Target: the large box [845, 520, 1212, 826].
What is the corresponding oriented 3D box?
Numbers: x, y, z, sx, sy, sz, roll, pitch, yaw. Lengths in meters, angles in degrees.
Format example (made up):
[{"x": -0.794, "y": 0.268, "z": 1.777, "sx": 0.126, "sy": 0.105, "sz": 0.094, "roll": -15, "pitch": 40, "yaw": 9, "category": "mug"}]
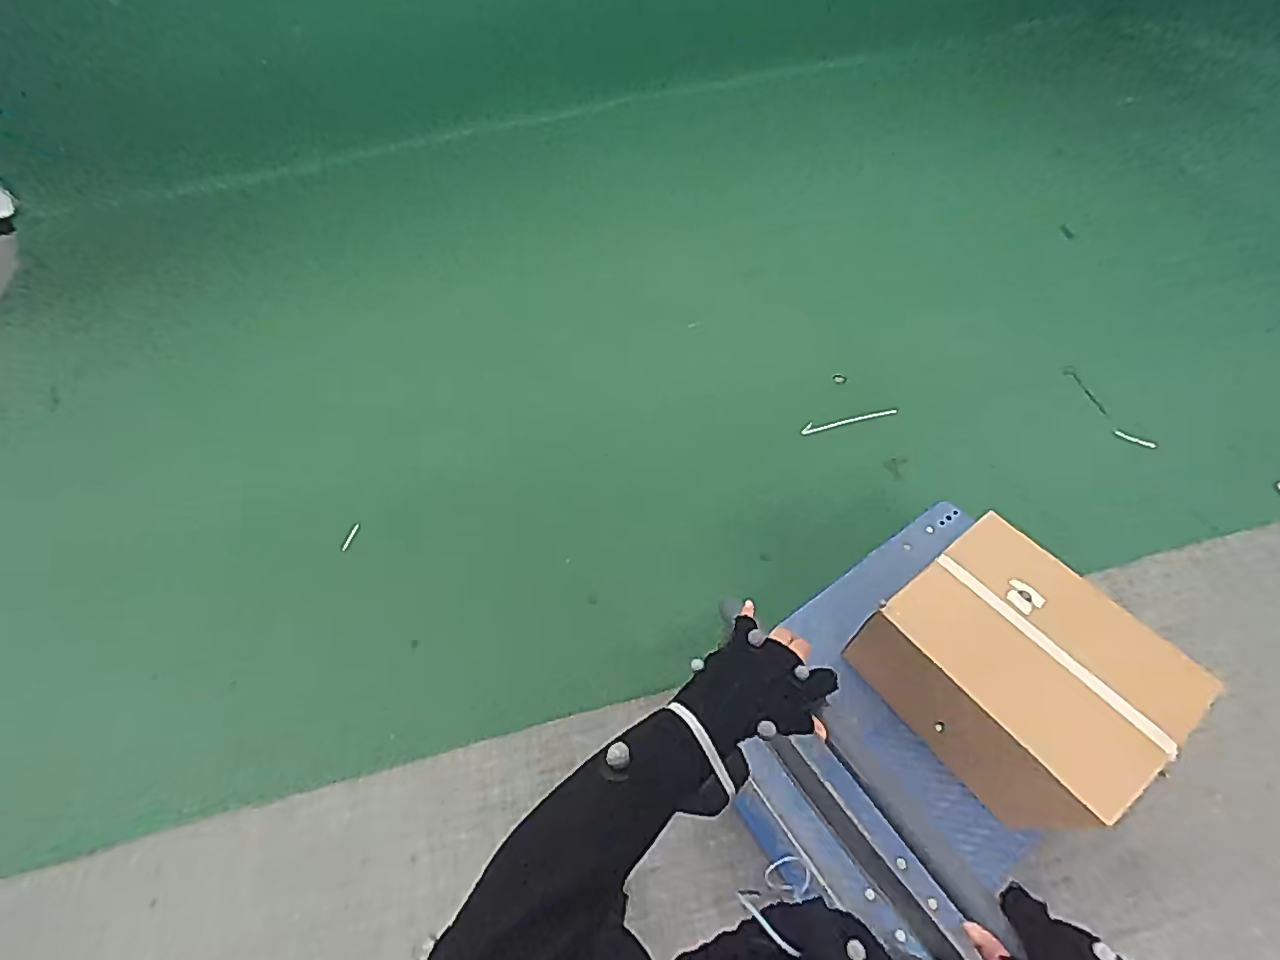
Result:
[{"x": 0.671, "y": 0.362, "z": 1.020, "sx": 0.320, "sy": 0.320, "sz": 0.408, "roll": -34, "pitch": 59, "yaw": -16, "category": "large box"}]
